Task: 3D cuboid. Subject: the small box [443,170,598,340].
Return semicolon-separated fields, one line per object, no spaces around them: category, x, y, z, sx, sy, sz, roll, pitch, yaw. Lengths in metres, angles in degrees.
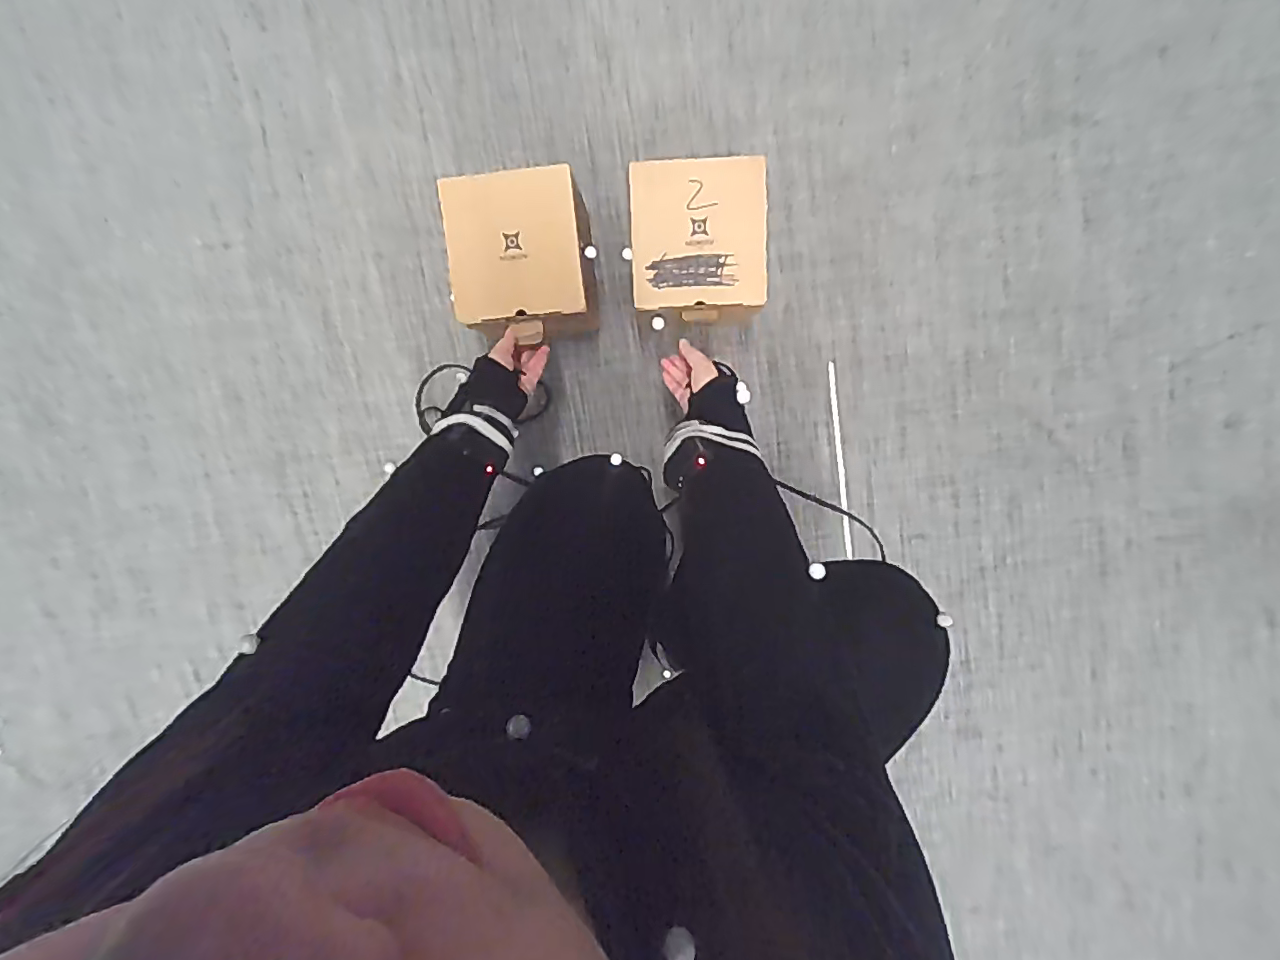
small box;-0.154;-0.299;0.754;0.168;0.176;0.179;-5;99;3
